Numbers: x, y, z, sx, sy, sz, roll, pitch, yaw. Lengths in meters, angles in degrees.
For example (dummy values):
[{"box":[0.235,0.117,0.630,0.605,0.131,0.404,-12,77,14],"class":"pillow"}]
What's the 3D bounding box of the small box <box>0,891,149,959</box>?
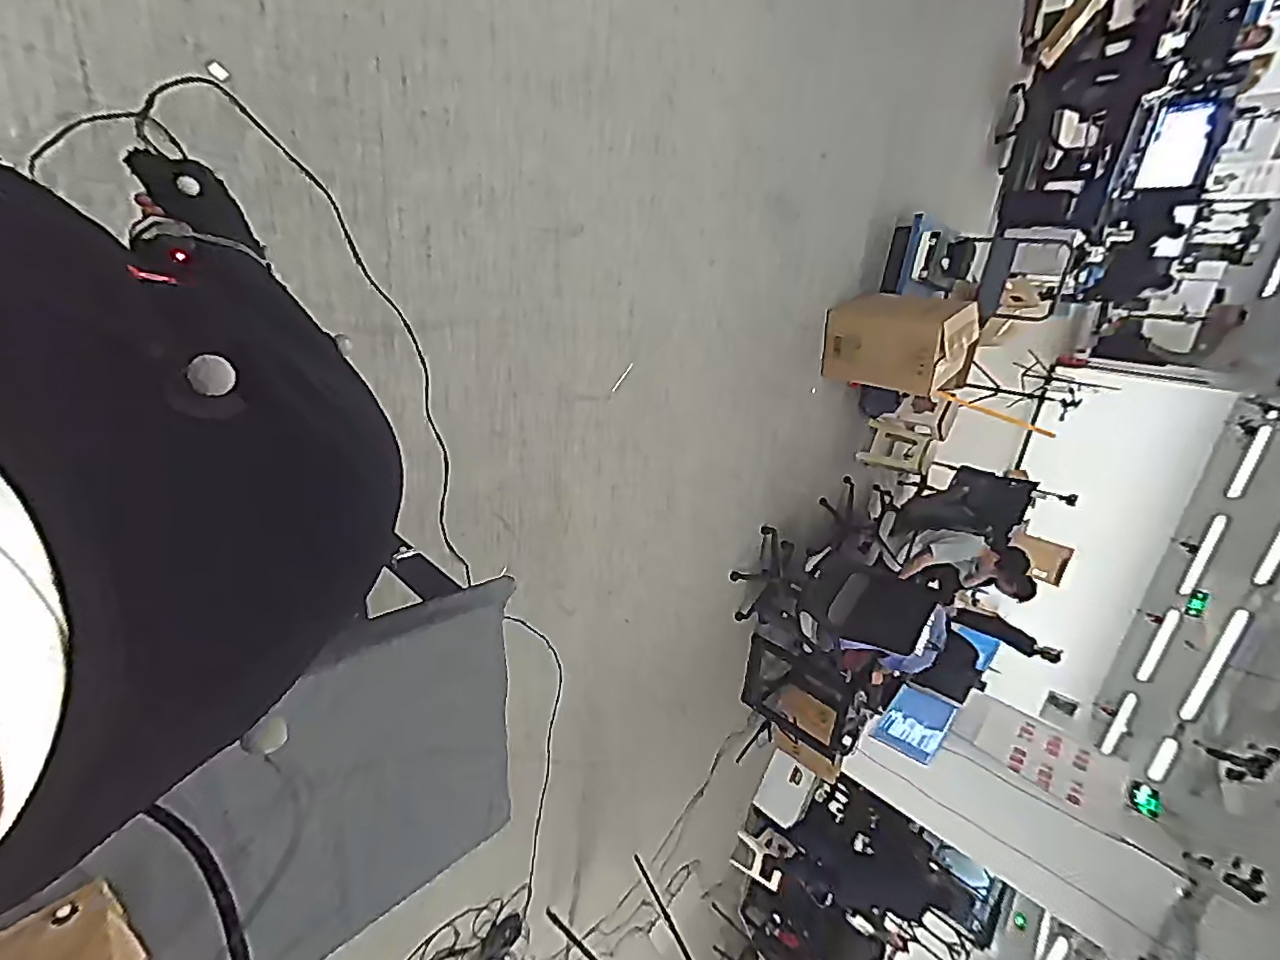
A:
[{"box":[-0.674,0.621,0.610,0.168,0.176,0.179,-21,123,-42],"class":"small box"}]
